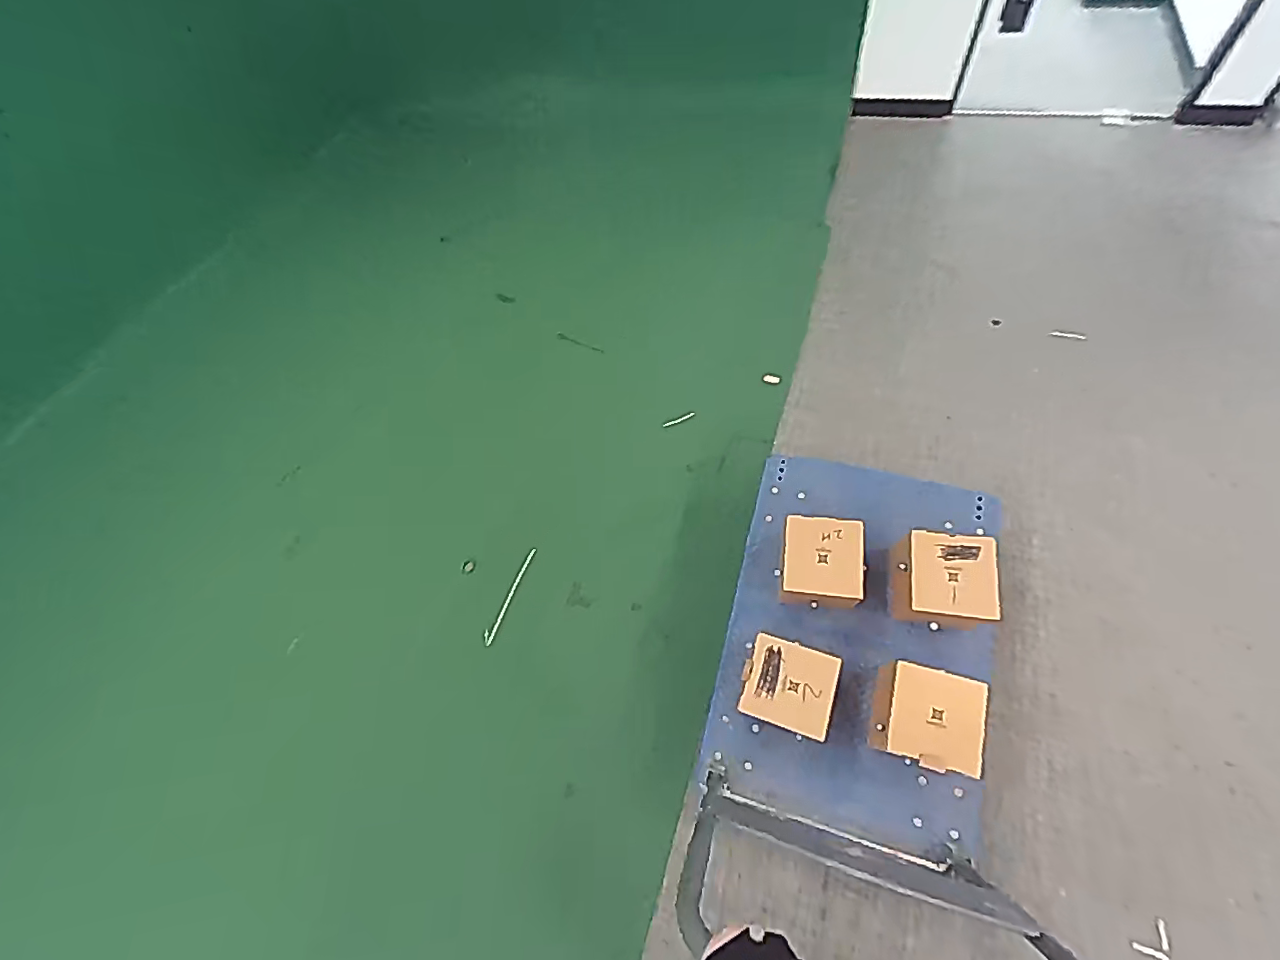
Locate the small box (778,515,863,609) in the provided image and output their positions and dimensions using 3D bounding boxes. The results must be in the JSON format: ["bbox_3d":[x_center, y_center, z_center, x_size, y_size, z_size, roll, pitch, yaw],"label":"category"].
[{"bbox_3d":[0.417,0.196,1.261,0.168,0.176,0.179,5,69,12],"label":"small box"}]

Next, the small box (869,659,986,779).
[{"bbox_3d":[0.584,0.485,1.115,0.168,0.176,0.179,13,72,15],"label":"small box"}]

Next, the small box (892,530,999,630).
[{"bbox_3d":[0.669,0.226,1.204,0.168,0.176,0.179,6,70,13],"label":"small box"}]
